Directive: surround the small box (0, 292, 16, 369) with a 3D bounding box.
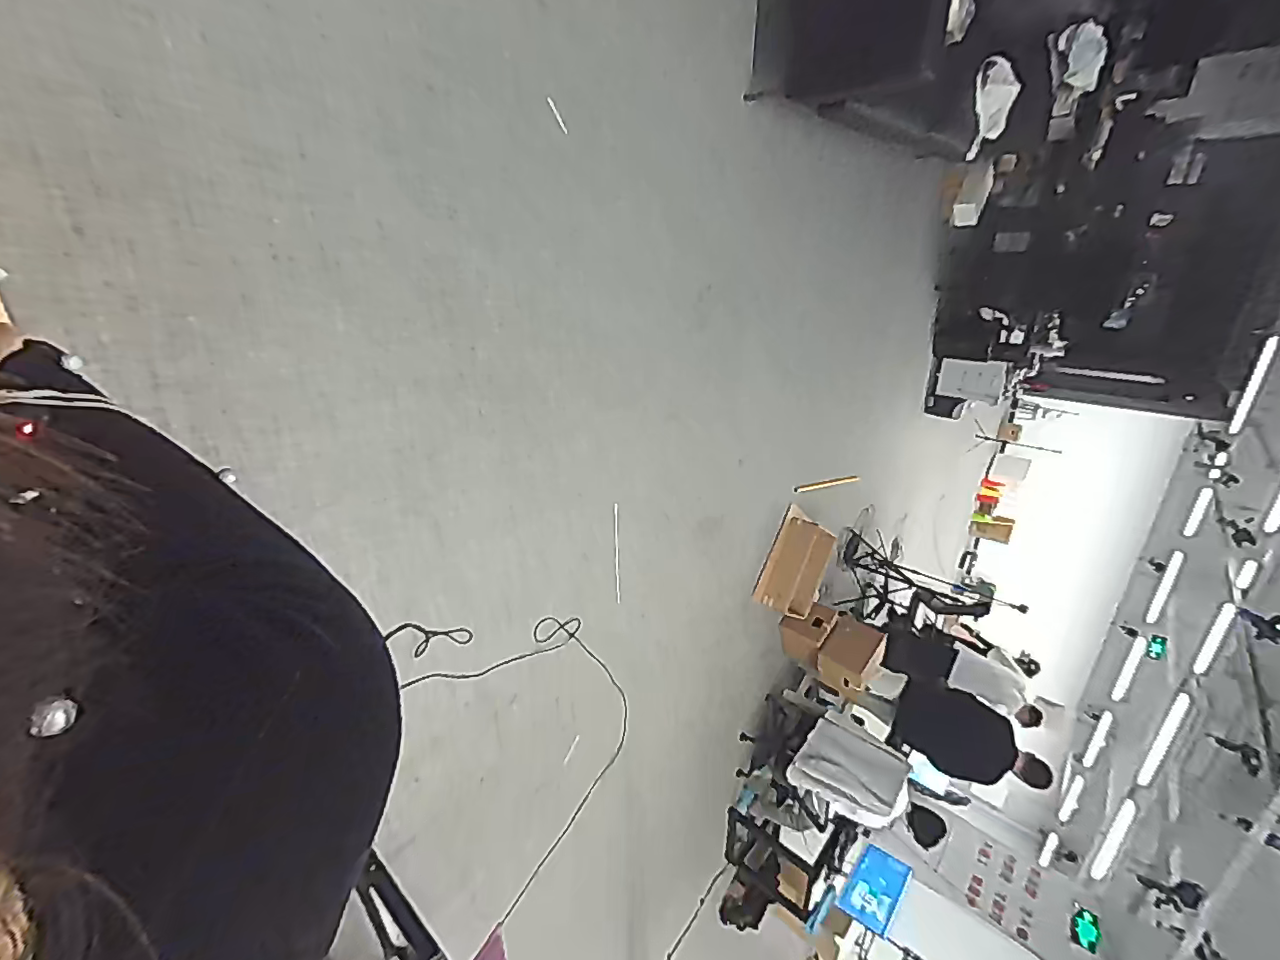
[{"bbox_3d":[-0.692,-0.192,0.472,0.168,0.176,0.179,-14,115,-46],"label":"small box"}]
